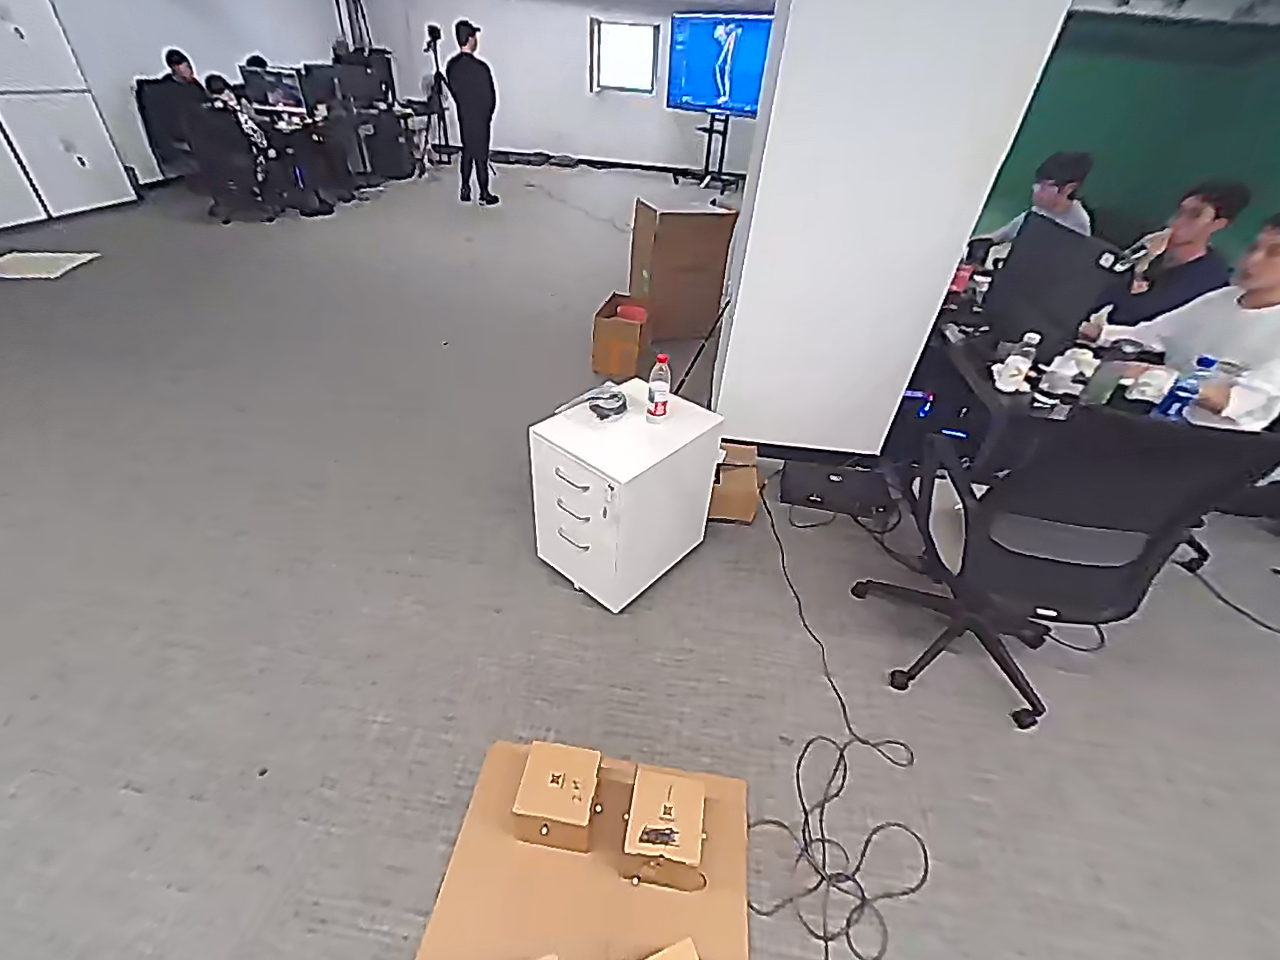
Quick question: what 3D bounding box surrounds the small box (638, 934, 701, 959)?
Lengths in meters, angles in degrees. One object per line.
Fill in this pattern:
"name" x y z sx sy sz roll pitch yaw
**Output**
"small box" 0.046 1.013 1.022 0.179 0.176 0.168 -13 40 -18
